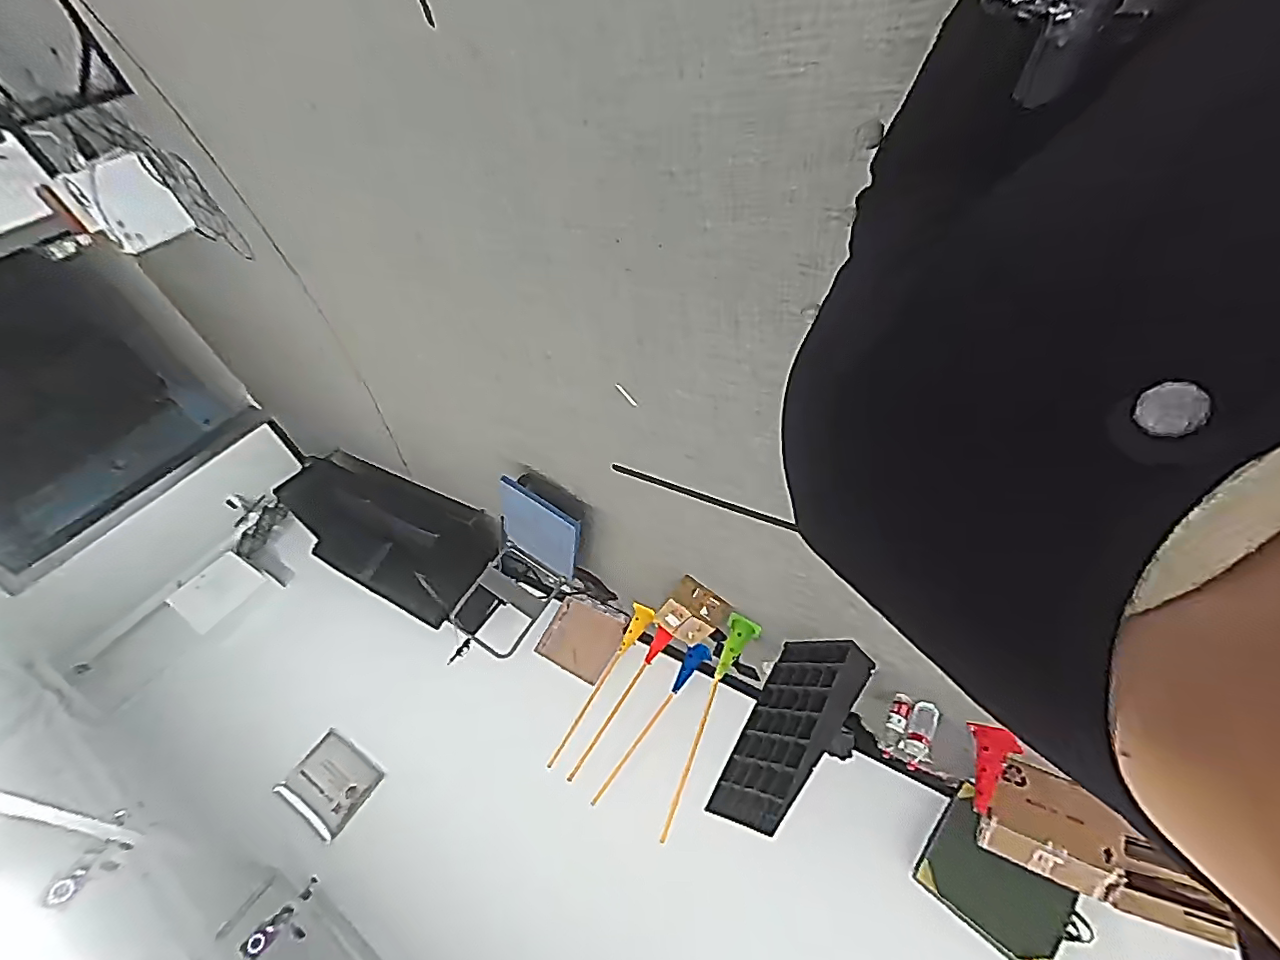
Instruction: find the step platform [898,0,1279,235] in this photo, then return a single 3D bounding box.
[{"bbox_3d":[0.822,-0.632,0.918,0.684,0.204,0.286,24,146,25],"label":"step platform"}]
